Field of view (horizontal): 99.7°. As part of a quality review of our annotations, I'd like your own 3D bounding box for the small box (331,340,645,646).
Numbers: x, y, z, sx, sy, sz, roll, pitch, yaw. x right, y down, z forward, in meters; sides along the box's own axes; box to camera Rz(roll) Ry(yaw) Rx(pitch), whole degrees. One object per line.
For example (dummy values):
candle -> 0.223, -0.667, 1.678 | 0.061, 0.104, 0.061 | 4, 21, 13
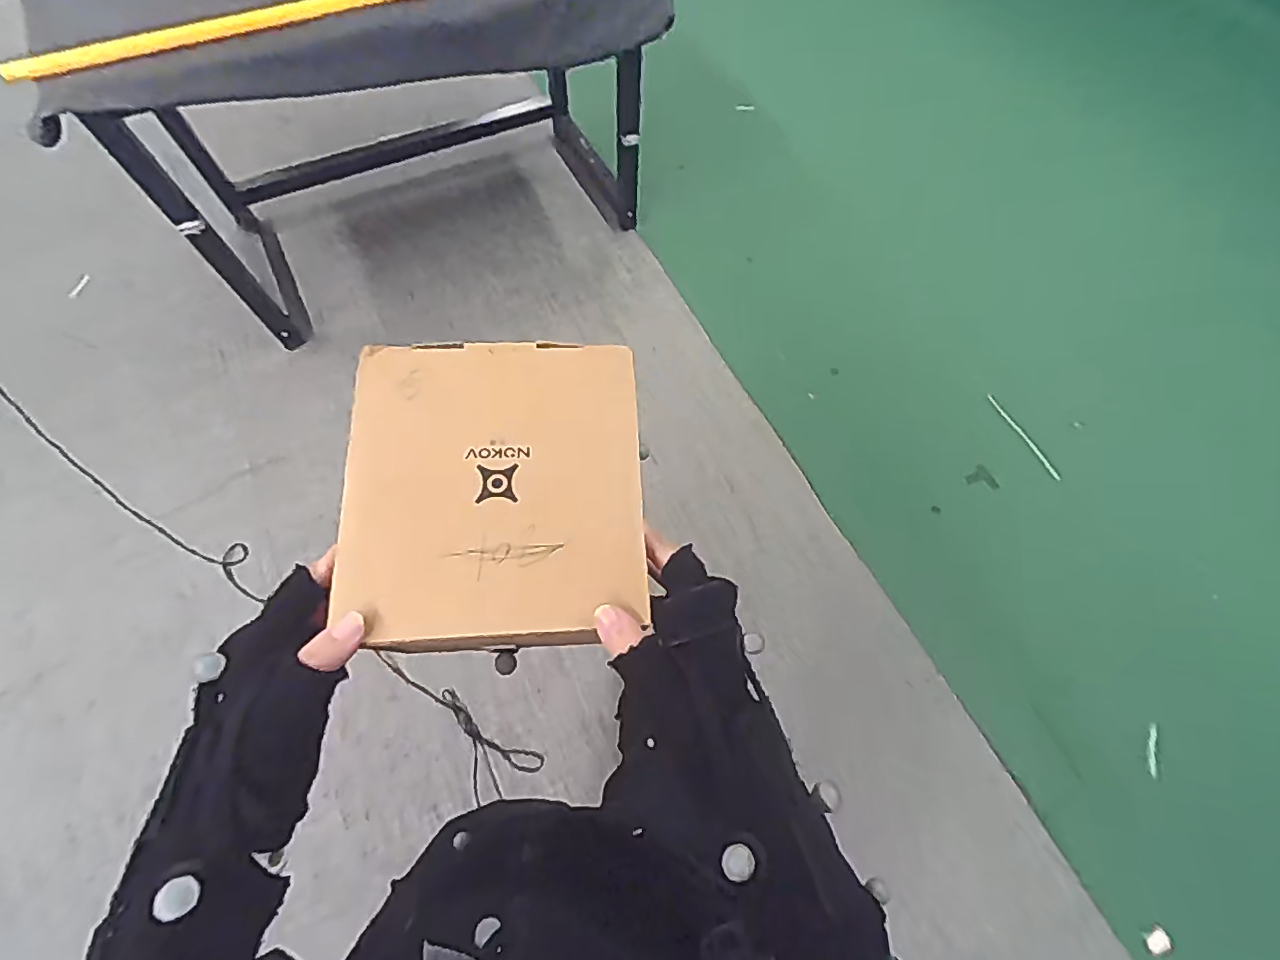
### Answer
small box -> -0.090, 0.020, 0.388 | 0.168, 0.176, 0.179 | -2, 71, -6
